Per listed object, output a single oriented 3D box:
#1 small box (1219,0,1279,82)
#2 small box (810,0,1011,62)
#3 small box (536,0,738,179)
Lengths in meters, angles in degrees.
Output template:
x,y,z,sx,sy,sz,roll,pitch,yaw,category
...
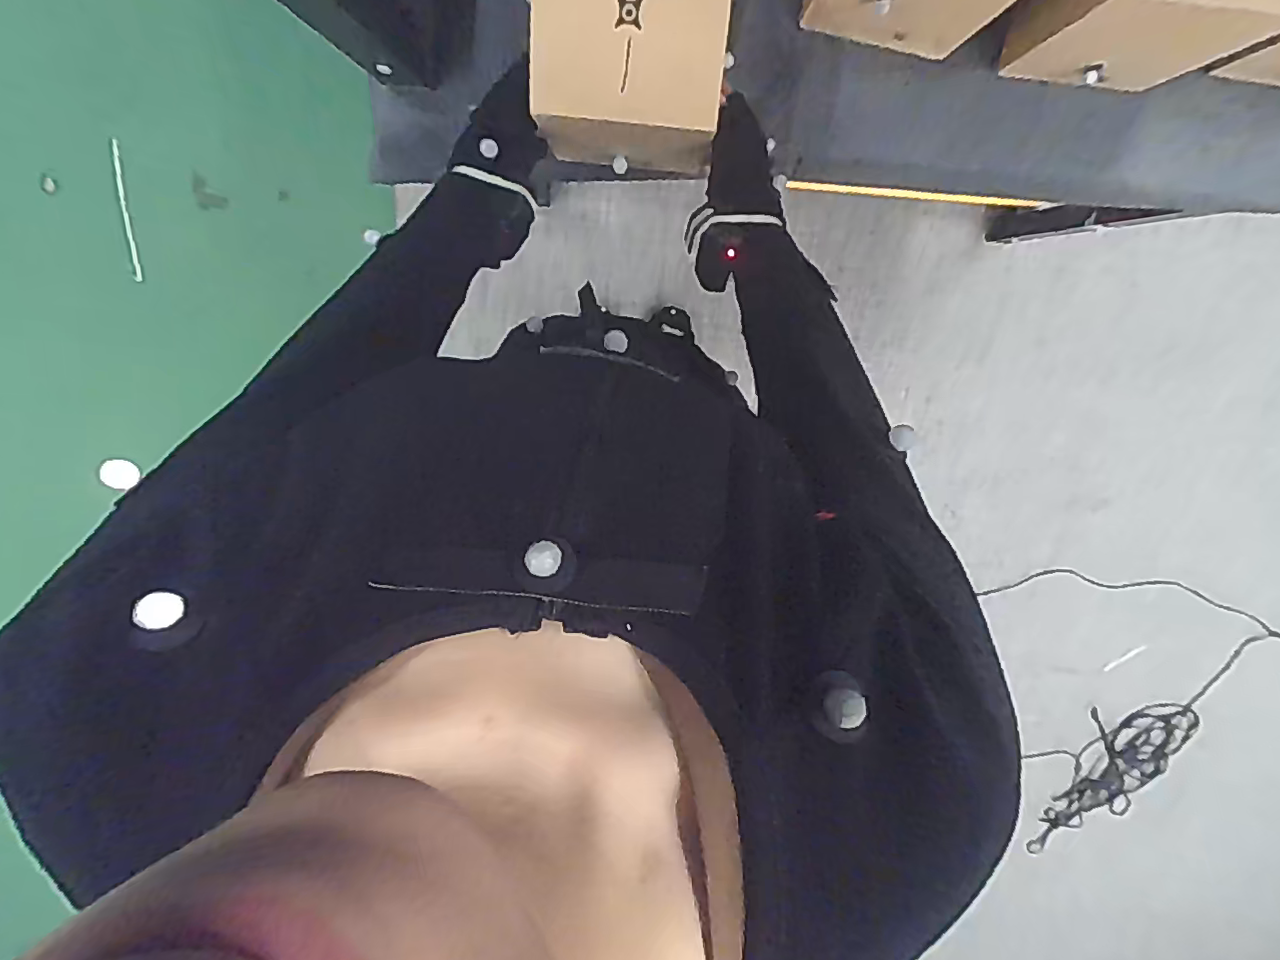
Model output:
x,y,z,sx,sy,sz,roll,pitch,yaw,category
0.708,-0.483,0.491,0.168,0.176,0.179,7,108,-2,small box
0.269,-0.521,0.488,0.168,0.176,0.179,10,108,-3,small box
-0.002,-0.414,0.524,0.168,0.176,0.179,5,109,-1,small box
